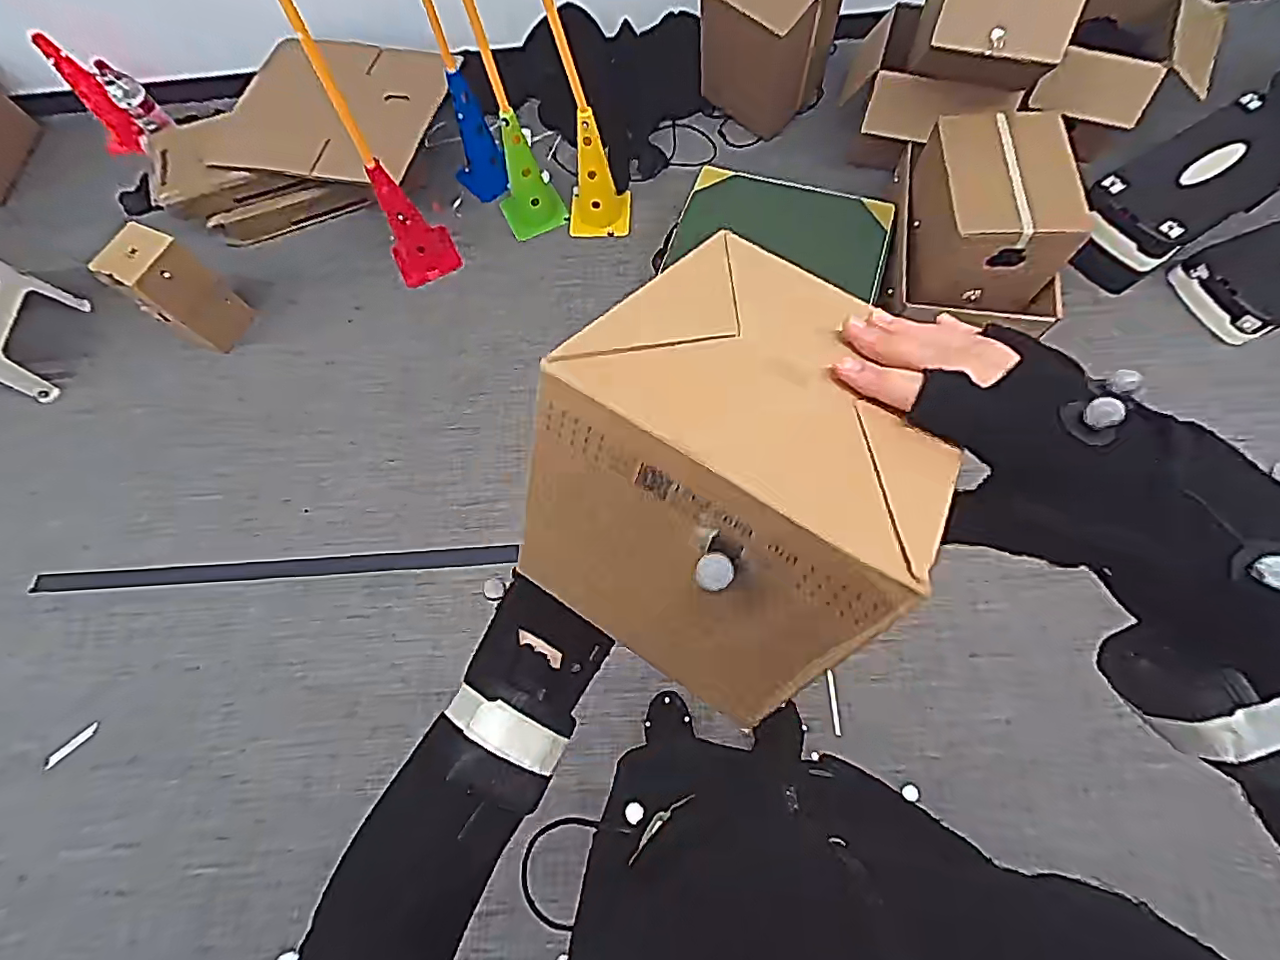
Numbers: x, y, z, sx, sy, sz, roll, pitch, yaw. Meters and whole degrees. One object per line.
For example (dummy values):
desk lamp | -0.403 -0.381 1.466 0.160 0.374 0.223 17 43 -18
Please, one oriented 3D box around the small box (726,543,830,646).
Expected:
small box | 0.320 0.282 1.298 0.179 0.176 0.168 -35 71 -9
